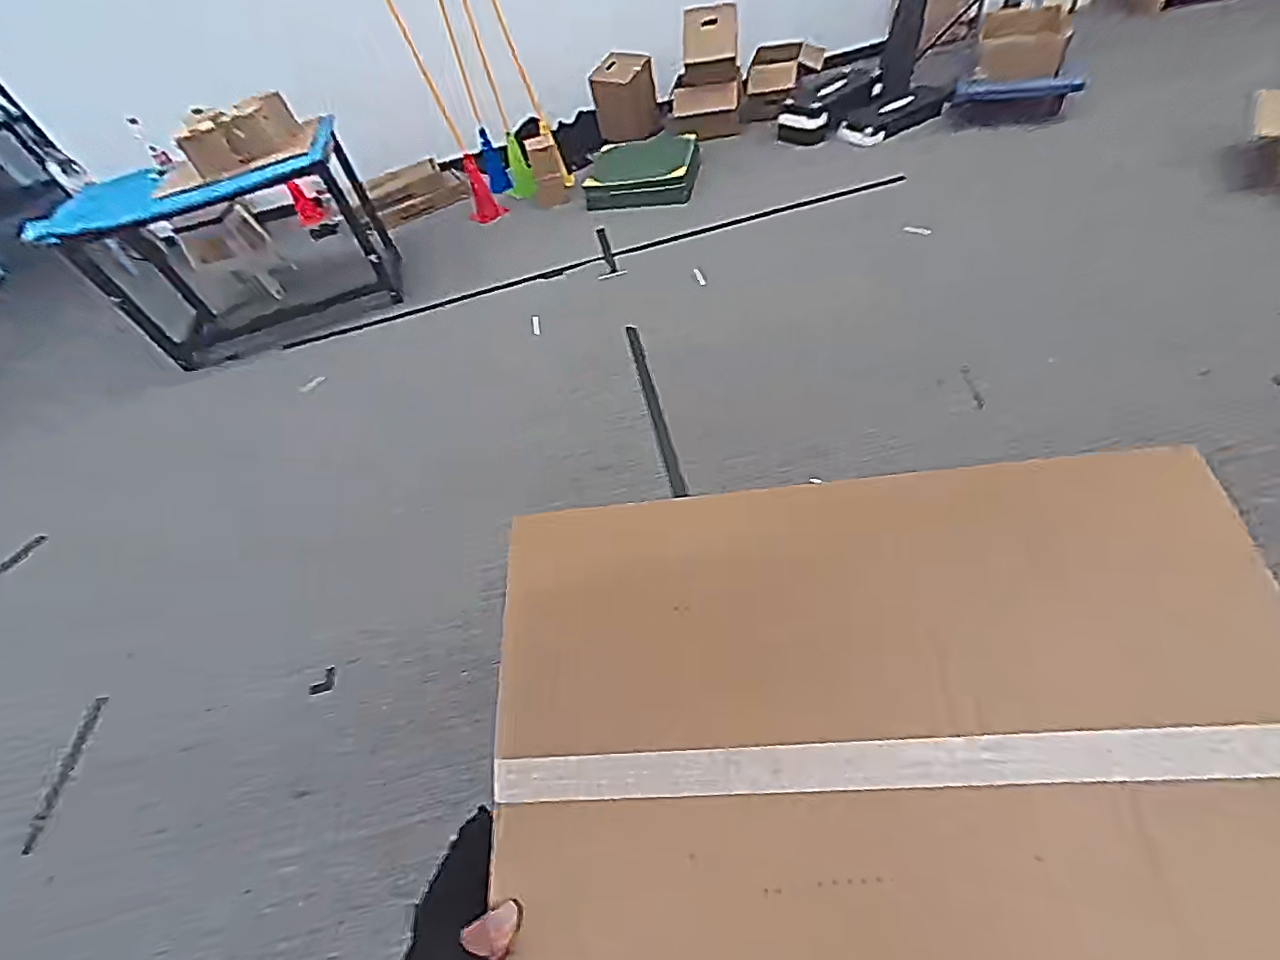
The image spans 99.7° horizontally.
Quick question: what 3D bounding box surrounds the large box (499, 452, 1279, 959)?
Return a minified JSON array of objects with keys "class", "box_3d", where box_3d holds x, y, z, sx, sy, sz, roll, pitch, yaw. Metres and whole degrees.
[{"class":"large box","box_3d":[0.145,0.210,0.410,0.408,0.320,0.320,-7,64,8]}]
